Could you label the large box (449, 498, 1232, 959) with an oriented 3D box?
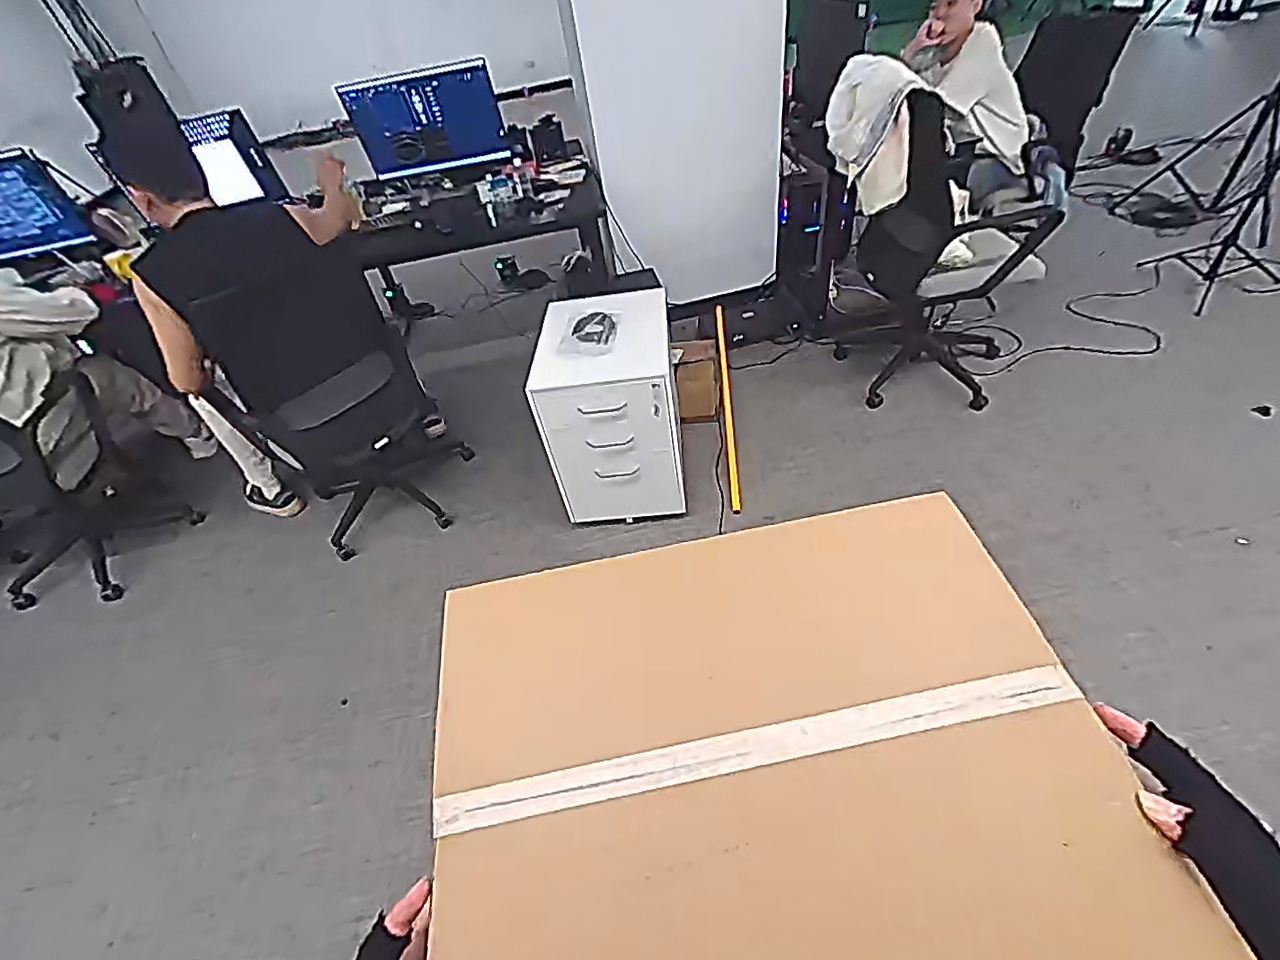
[{"bbox_3d":[0.090,0.263,0.465,0.408,0.320,0.320,-11,53,-1],"label":"large box"}]
